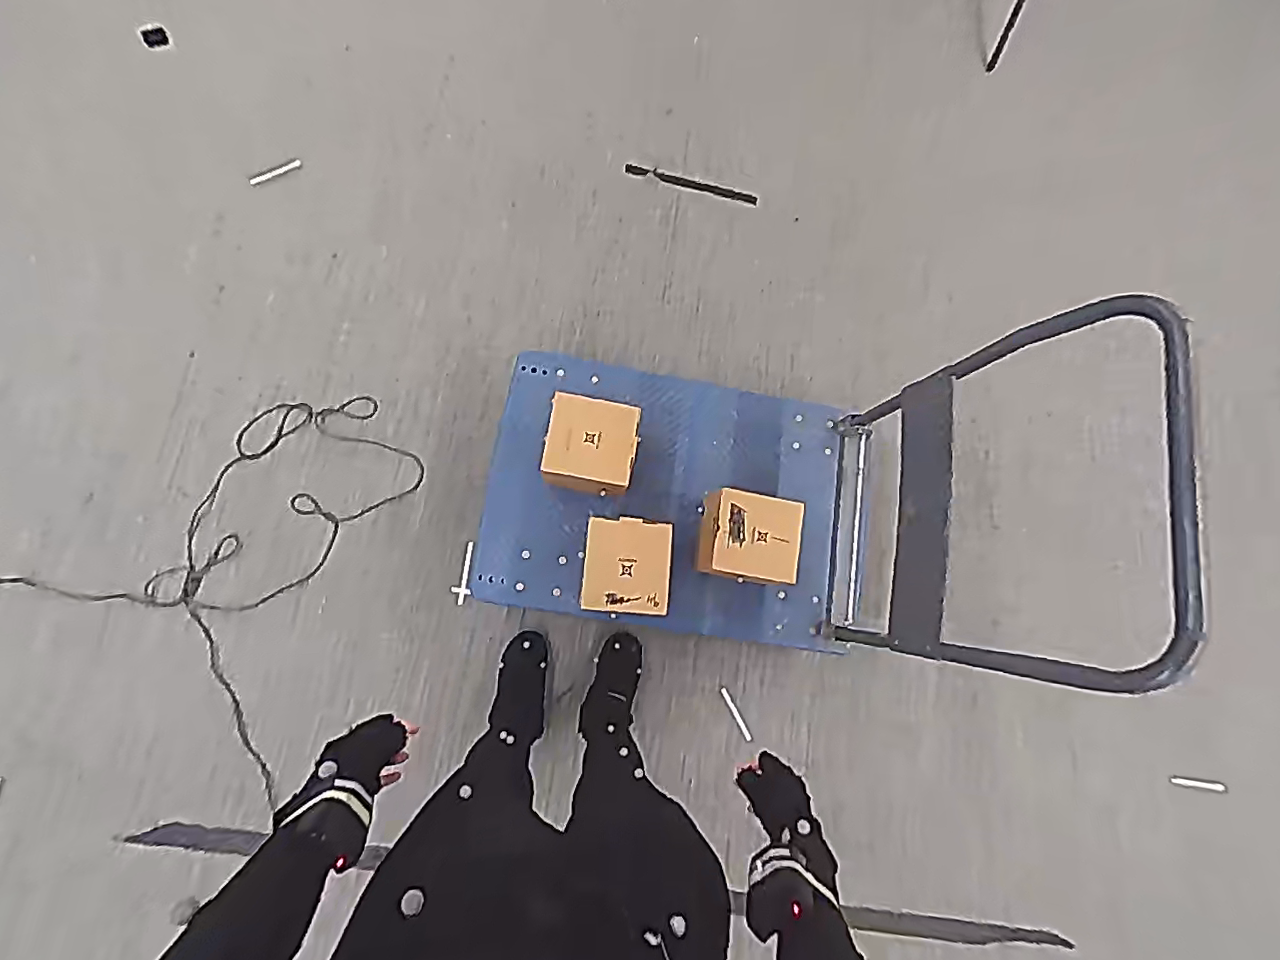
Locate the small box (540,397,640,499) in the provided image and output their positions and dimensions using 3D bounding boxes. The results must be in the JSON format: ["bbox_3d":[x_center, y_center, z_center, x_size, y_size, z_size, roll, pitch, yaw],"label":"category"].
[{"bbox_3d":[-0.106,-0.059,1.150,0.179,0.176,0.168,10,78,-4],"label":"small box"}]

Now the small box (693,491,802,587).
[{"bbox_3d":[0.220,0.132,1.152,0.179,0.176,0.168,12,78,-5],"label":"small box"}]

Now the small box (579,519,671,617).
[{"bbox_3d":[-0.036,0.185,1.113,0.168,0.176,0.179,6,78,-5],"label":"small box"}]
